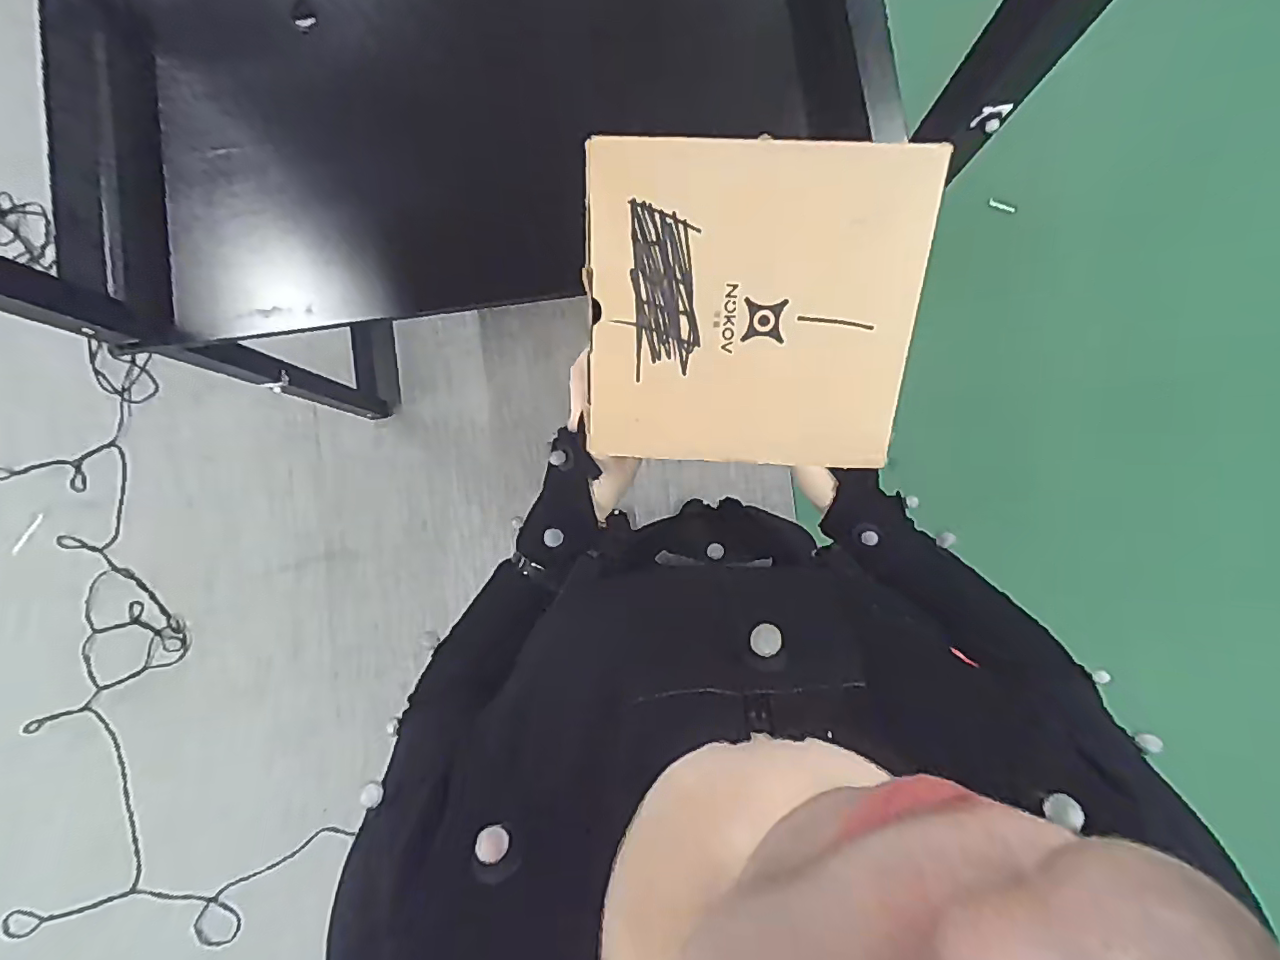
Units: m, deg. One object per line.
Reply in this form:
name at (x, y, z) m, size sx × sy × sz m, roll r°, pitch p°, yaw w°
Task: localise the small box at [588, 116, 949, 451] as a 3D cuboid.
small box at (0.065, -0.127, 0.367) m, size 0.179 × 0.176 × 0.168 m, roll 4°, pitch 112°, yaw 2°
